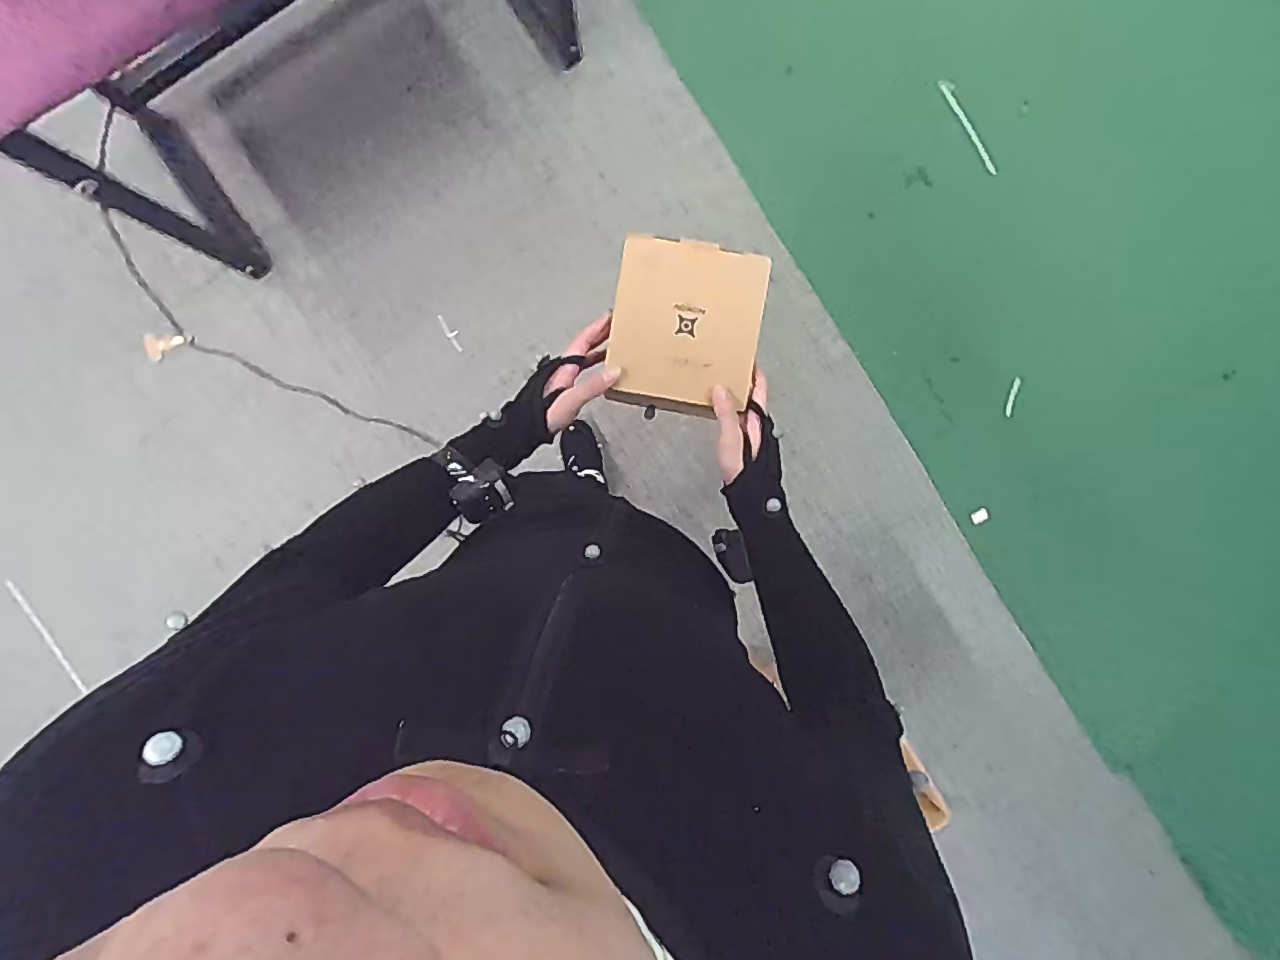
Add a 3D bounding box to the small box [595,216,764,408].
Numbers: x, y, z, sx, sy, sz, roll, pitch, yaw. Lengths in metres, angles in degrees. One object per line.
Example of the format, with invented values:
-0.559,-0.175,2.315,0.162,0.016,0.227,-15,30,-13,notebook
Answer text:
0.039,-0.192,0.670,0.168,0.176,0.179,9,93,-3,small box
